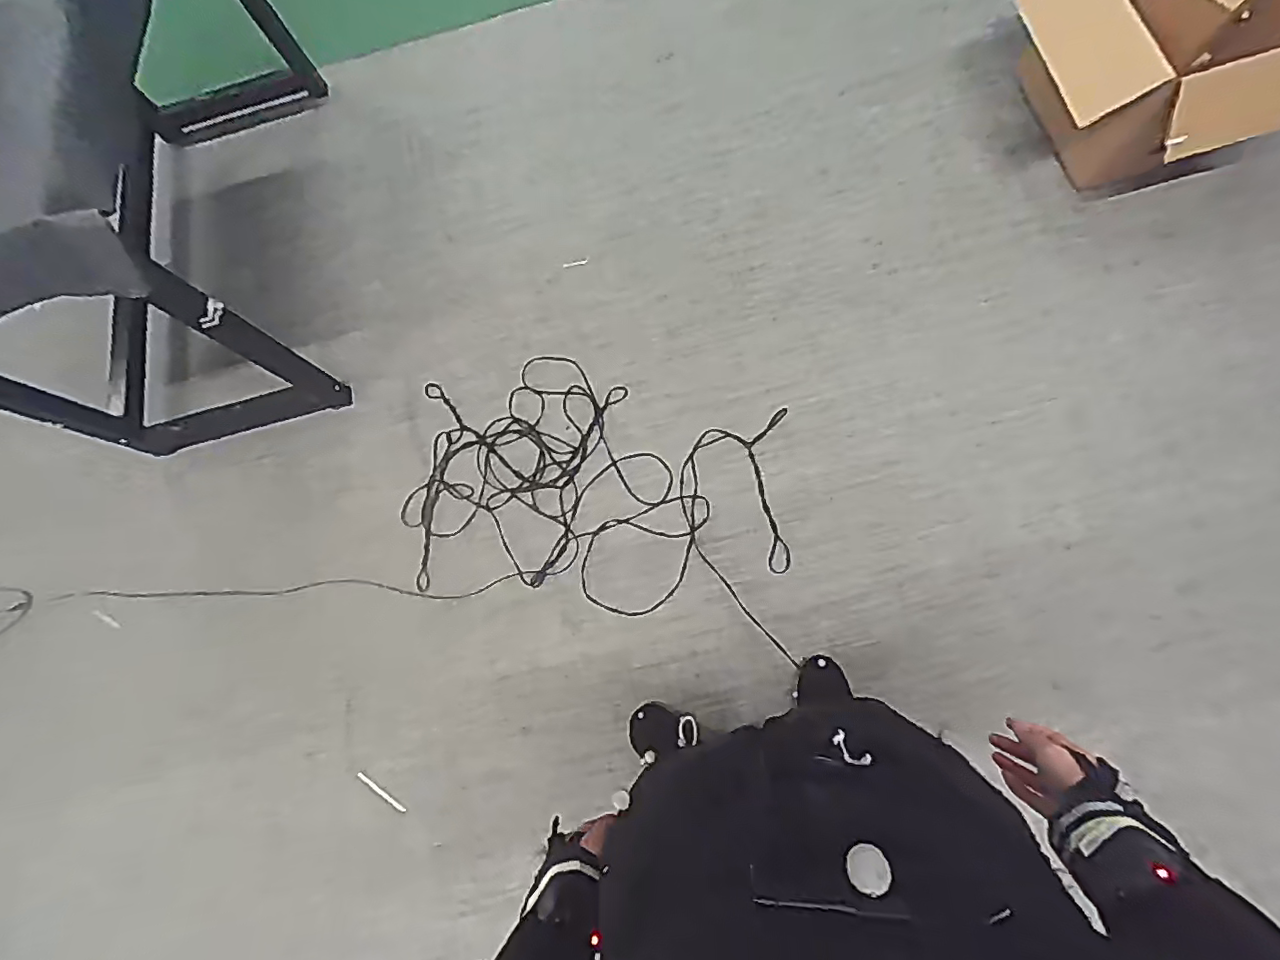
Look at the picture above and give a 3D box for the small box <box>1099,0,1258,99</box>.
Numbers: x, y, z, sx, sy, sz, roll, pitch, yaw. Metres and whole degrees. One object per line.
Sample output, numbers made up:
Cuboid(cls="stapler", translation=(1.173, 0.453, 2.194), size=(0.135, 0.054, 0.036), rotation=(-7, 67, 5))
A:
Cuboid(cls="small box", translation=(1.179, -0.998, 1.185), size=(0.179, 0.176, 0.168), rotation=(-40, 75, -5))
